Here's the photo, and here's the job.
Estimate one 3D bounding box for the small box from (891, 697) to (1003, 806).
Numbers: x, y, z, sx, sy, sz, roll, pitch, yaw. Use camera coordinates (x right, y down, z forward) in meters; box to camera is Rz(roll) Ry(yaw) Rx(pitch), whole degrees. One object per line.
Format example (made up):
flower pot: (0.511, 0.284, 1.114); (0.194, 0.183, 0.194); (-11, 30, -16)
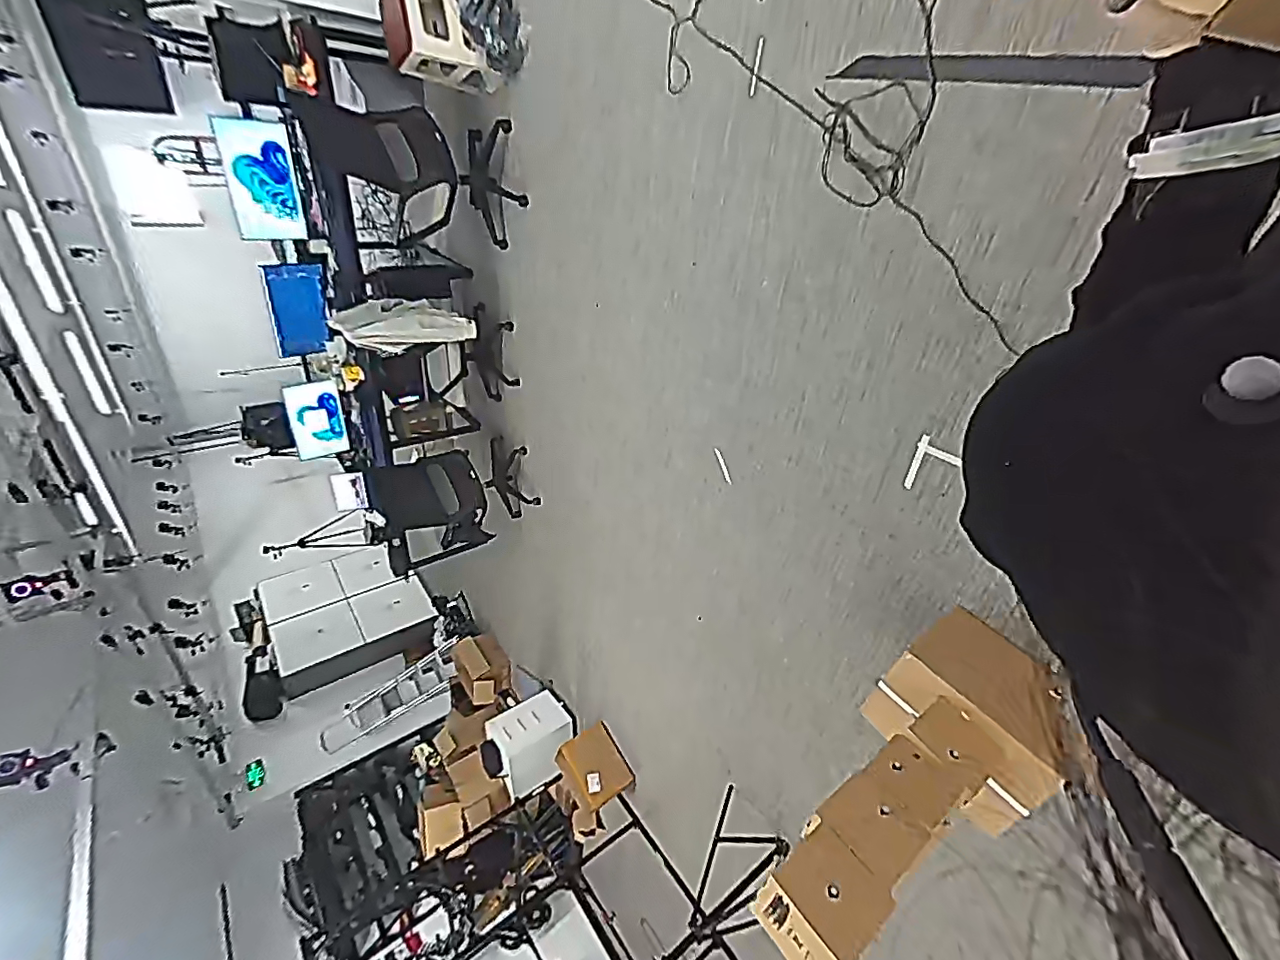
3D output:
small box: (0.730, 0.669, 1.313); (0.179, 0.176, 0.168); (46, 138, 34)

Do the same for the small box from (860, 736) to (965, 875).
small box: (0.604, 0.727, 1.228); (0.168, 0.176, 0.179); (32, 130, 45)

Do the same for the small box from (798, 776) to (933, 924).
small box: (0.472, 0.764, 1.139); (0.179, 0.176, 0.168); (38, 134, 41)
